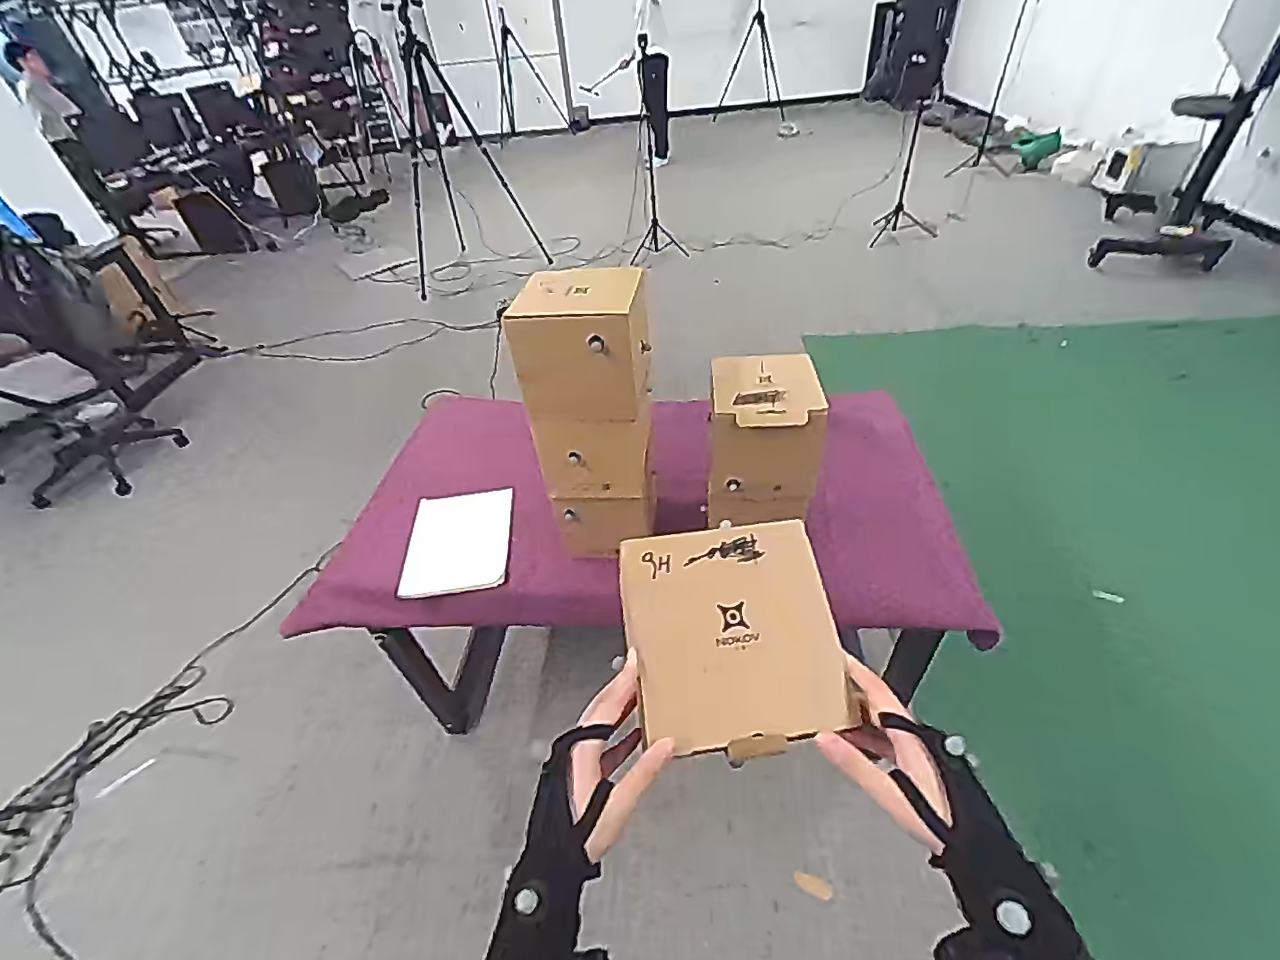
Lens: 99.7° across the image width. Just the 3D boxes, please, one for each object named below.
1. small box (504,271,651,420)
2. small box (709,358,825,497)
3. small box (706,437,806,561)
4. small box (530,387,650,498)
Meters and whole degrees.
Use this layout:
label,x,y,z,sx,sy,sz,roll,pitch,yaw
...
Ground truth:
label,x,y,z,sx,sy,sz,roll,pitch,yaw
small box,-0.080,-0.202,0.818,0.179,0.176,0.168,1,40,9
small box,0.201,-0.085,0.901,0.168,0.176,0.179,0,40,6
small box,0.209,0.035,1.012,0.168,0.176,0.179,1,41,7
small box,-0.074,-0.082,0.932,0.168,0.176,0.179,0,41,7
